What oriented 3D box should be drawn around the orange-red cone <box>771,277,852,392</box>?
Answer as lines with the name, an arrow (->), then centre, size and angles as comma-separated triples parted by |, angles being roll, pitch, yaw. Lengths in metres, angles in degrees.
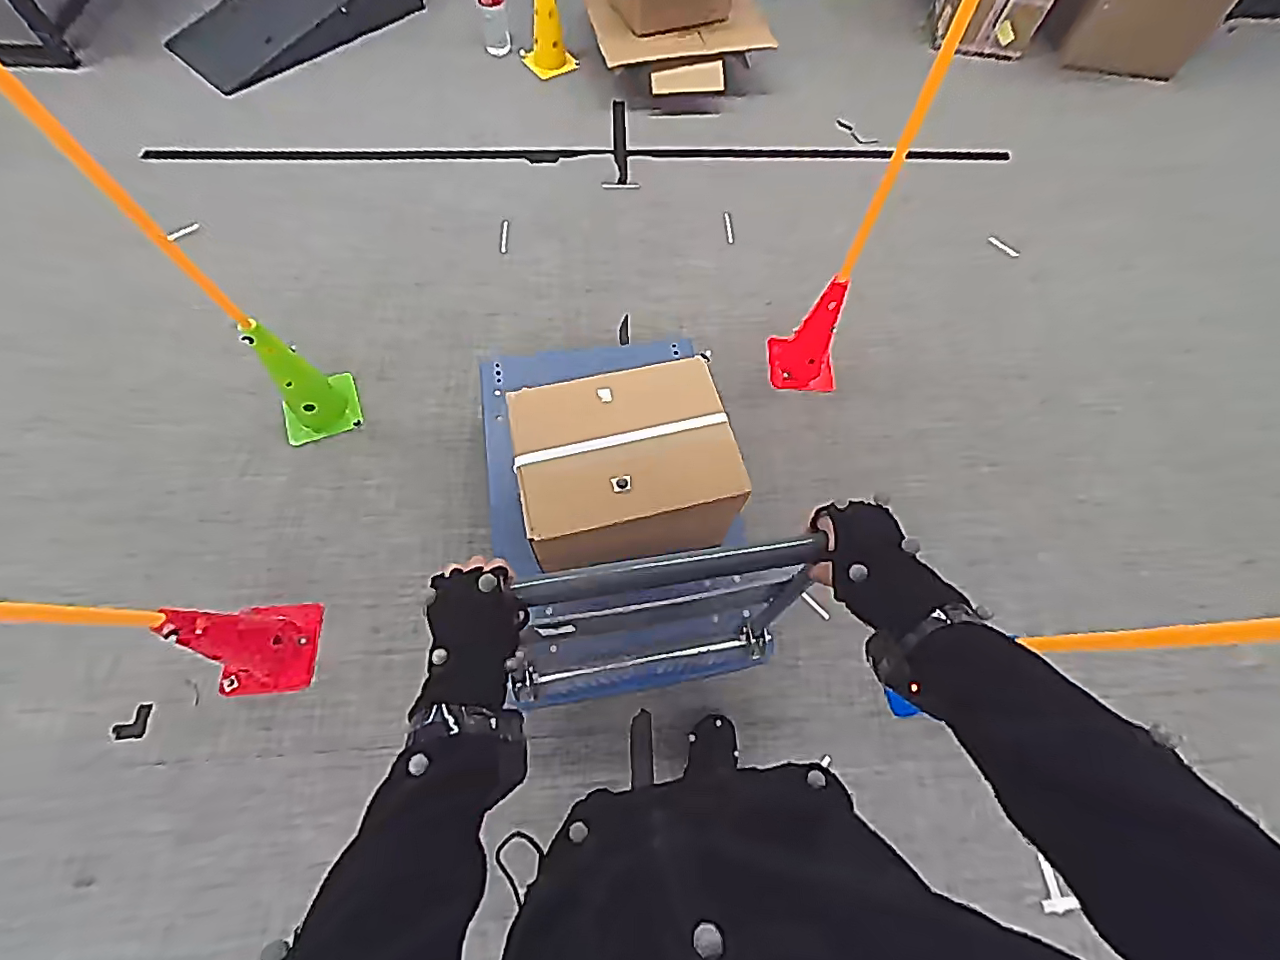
orange-red cone -> 0.520, -0.435, 1.544 | 0.199, 0.360, 0.198 | 5, 65, -2

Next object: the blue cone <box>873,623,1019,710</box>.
blue cone -> 0.692, 0.382, 1.179 | 0.193, 0.380, 0.192 | -5, 64, -6
